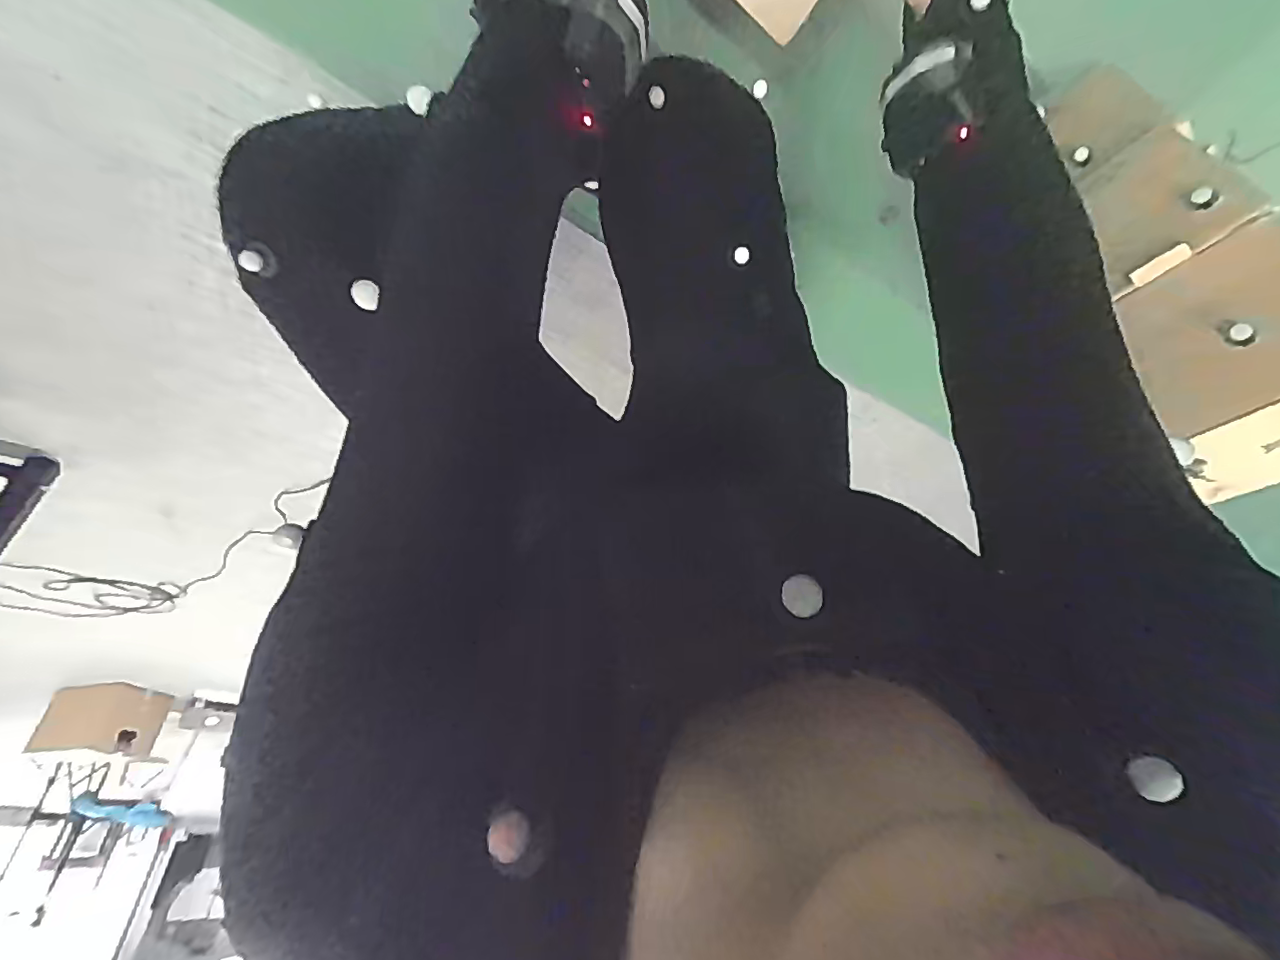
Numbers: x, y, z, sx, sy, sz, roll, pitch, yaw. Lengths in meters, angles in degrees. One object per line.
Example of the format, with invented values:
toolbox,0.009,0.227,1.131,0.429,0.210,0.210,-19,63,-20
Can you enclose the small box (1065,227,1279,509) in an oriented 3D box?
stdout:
small box,0.573,-0.102,0.525,0.168,0.176,0.179,22,138,-31
